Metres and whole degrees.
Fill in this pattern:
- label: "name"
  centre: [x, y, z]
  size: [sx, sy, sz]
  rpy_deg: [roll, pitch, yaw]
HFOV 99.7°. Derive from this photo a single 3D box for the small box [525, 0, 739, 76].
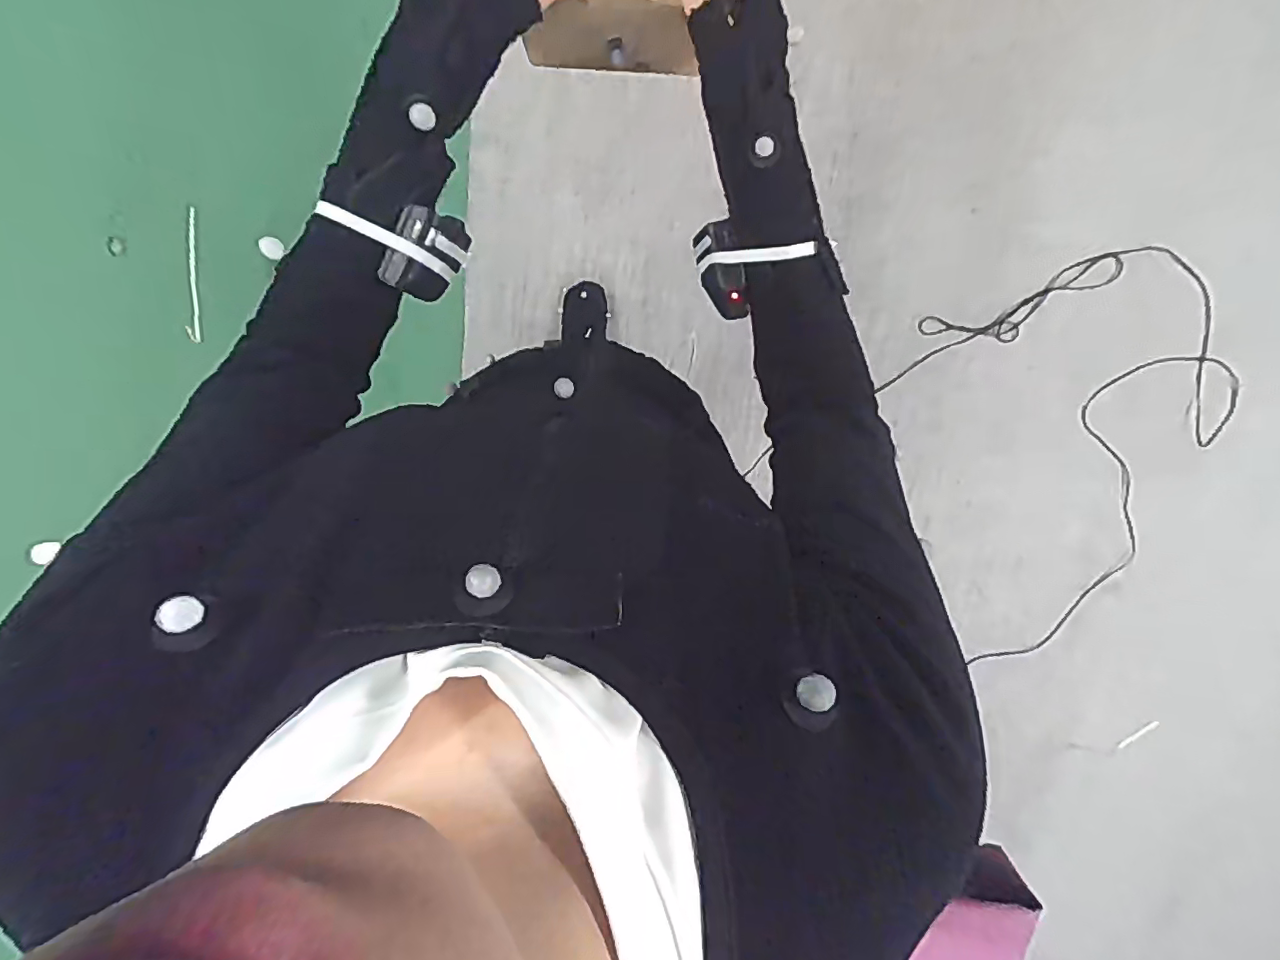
- label: "small box"
  centre: [-0.007, -0.443, 0.402]
  size: [0.168, 0.176, 0.179]
  rpy_deg: [1, 107, -4]
